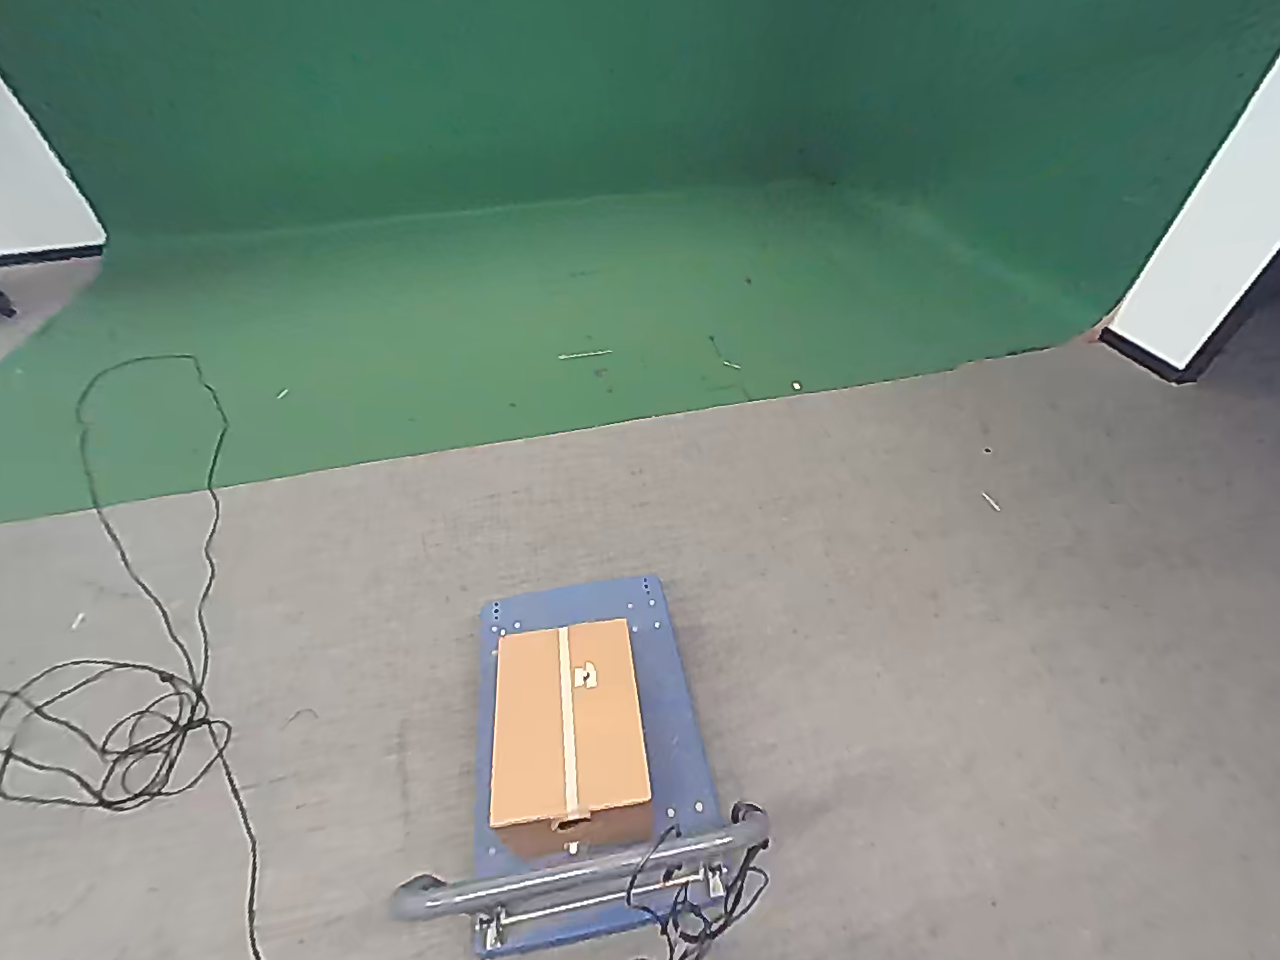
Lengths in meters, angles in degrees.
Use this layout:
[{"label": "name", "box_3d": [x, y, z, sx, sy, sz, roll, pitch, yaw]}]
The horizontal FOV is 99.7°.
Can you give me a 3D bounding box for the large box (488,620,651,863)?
[{"label": "large box", "box_3d": [-0.157, 0.602, 1.263, 0.320, 0.320, 0.408, -6, 44, -5]}]
